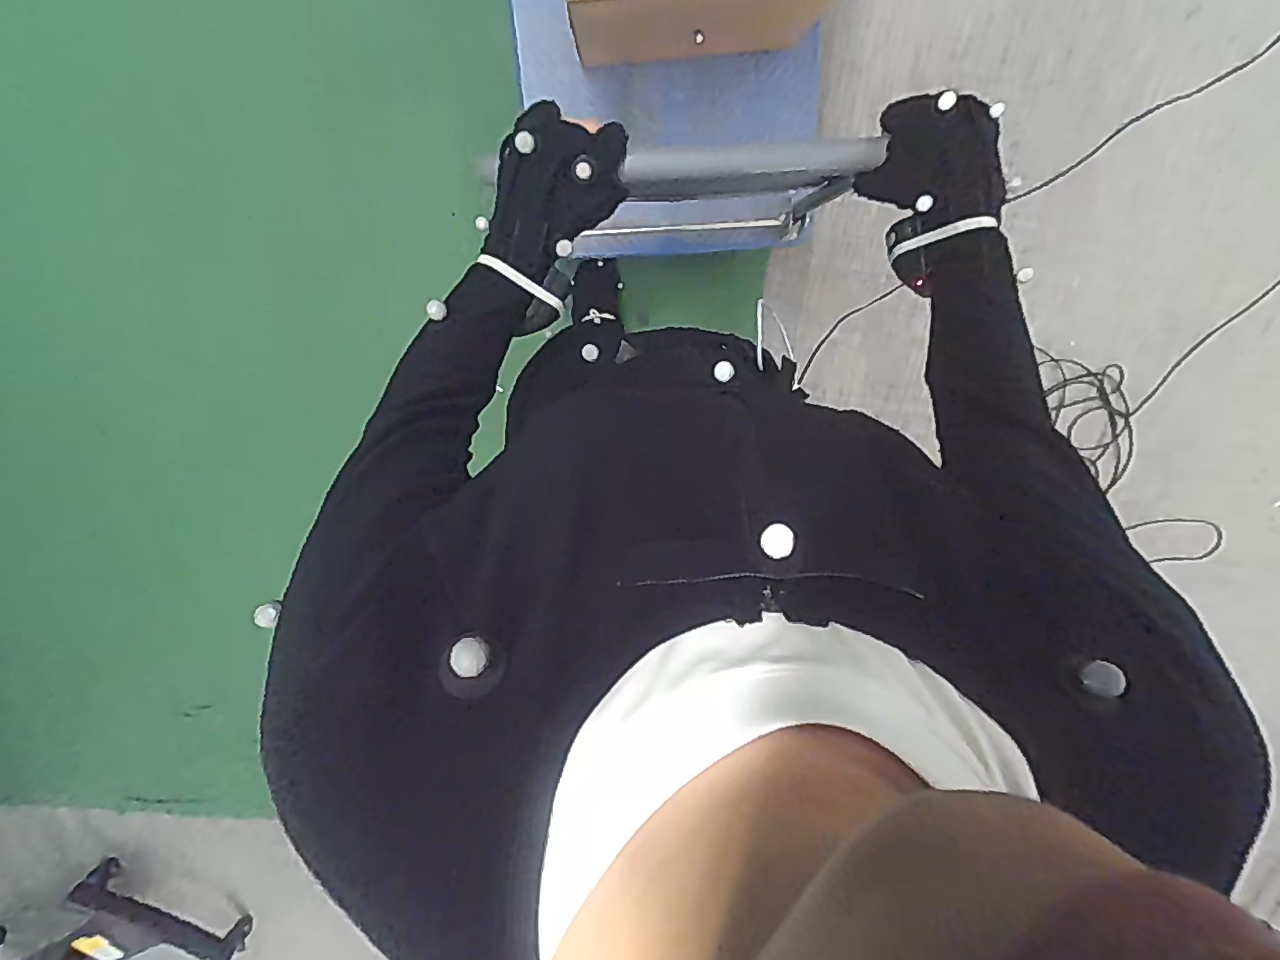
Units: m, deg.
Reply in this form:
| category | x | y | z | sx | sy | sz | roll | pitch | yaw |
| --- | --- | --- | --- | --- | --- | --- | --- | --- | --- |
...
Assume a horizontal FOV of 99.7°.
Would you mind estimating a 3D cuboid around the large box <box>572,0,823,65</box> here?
| category | x | y | z | sx | sy | sz | roll | pitch | yaw |
| --- | --- | --- | --- | --- | --- | --- | --- | --- | --- |
| large box | 0.084 | -0.889 | 0.829 | 0.408 | 0.320 | 0.320 | -6 | 113 | 2 |
